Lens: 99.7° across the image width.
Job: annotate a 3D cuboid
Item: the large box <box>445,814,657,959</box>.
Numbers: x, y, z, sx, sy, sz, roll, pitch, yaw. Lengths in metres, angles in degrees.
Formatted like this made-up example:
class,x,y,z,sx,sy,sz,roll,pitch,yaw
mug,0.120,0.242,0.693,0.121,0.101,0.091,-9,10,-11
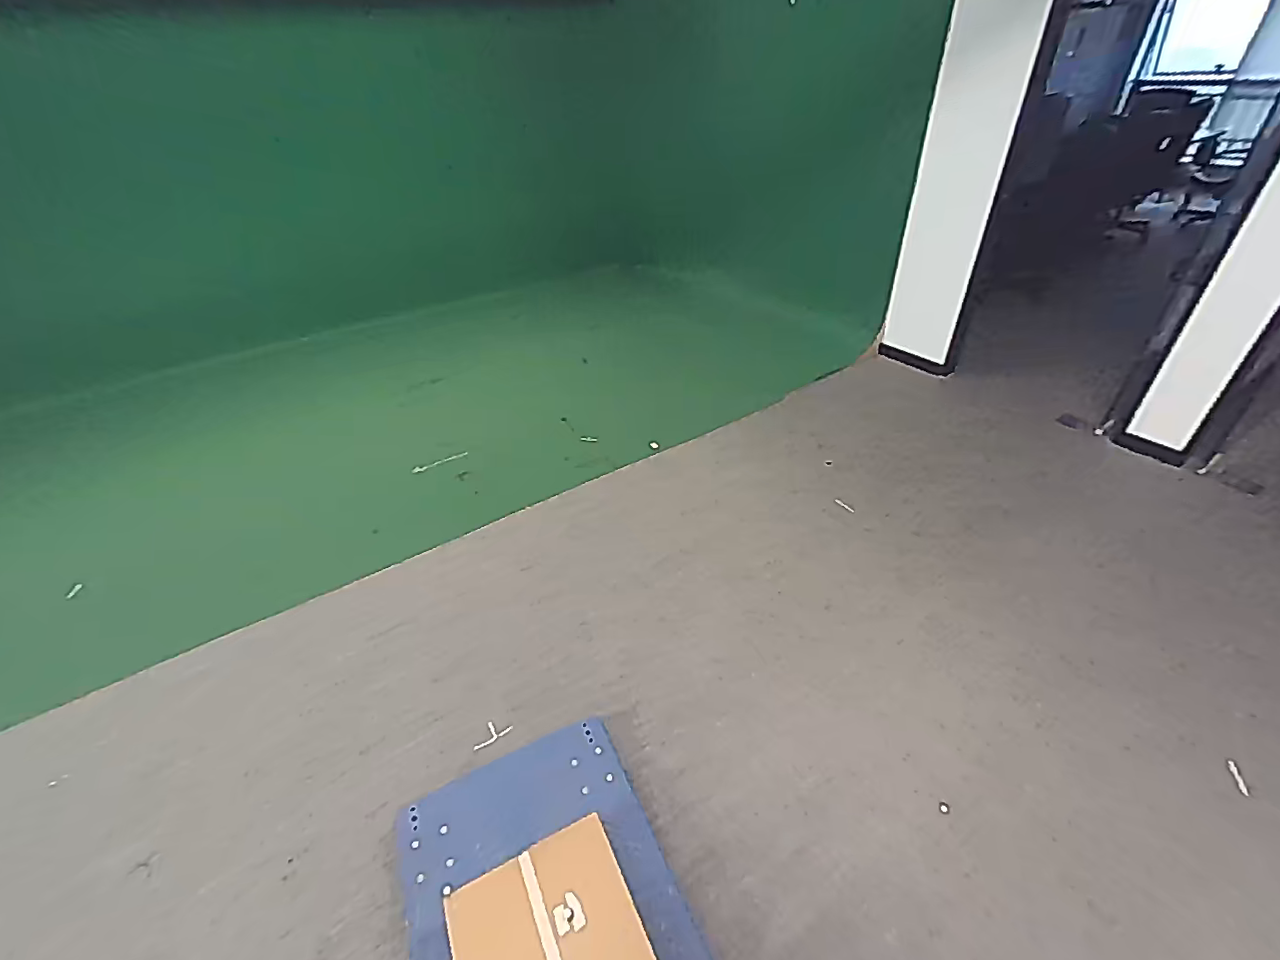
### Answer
class,x,y,z,sx,sy,sz,roll,pitch,yaw
large box,-0.129,0.949,1.005,0.320,0.320,0.408,-19,39,-19
